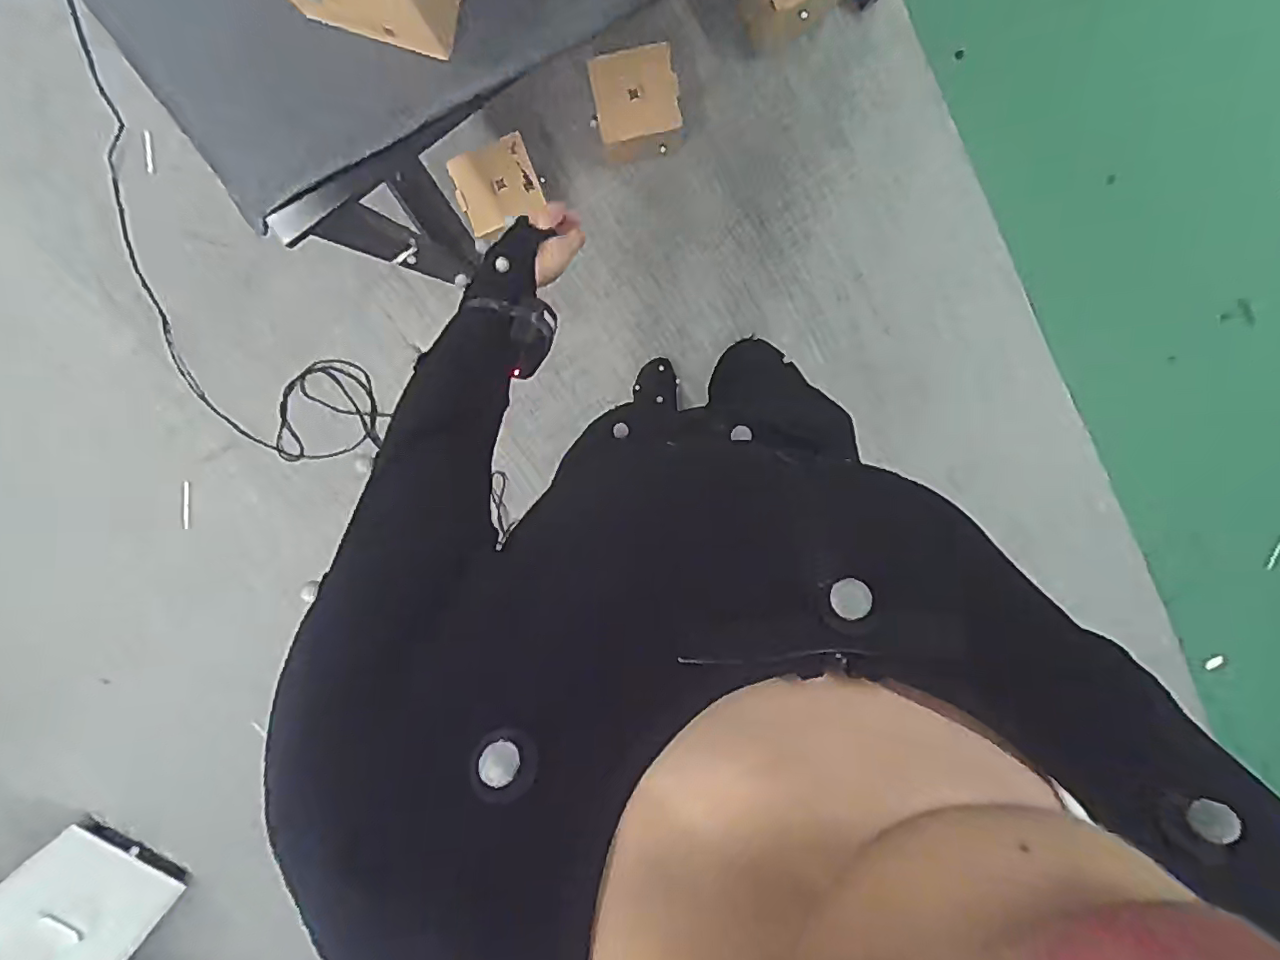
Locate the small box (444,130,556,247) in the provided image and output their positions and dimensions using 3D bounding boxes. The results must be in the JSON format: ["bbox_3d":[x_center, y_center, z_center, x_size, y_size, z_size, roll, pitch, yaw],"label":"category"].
[{"bbox_3d":[-0.311,-0.654,1.238,0.179,0.176,0.168,-19,103,5],"label":"small box"}]

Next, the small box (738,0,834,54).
[{"bbox_3d":[0.313,-1.063,1.146,0.179,0.176,0.168,-26,103,4],"label":"small box"}]

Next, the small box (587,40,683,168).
[{"bbox_3d":[-0.010,-0.823,1.201,0.179,0.176,0.168,-11,103,3],"label":"small box"}]

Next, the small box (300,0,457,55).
[{"bbox_3d":[-0.273,-0.558,0.514,0.168,0.176,0.179,15,103,-4],"label":"small box"}]
